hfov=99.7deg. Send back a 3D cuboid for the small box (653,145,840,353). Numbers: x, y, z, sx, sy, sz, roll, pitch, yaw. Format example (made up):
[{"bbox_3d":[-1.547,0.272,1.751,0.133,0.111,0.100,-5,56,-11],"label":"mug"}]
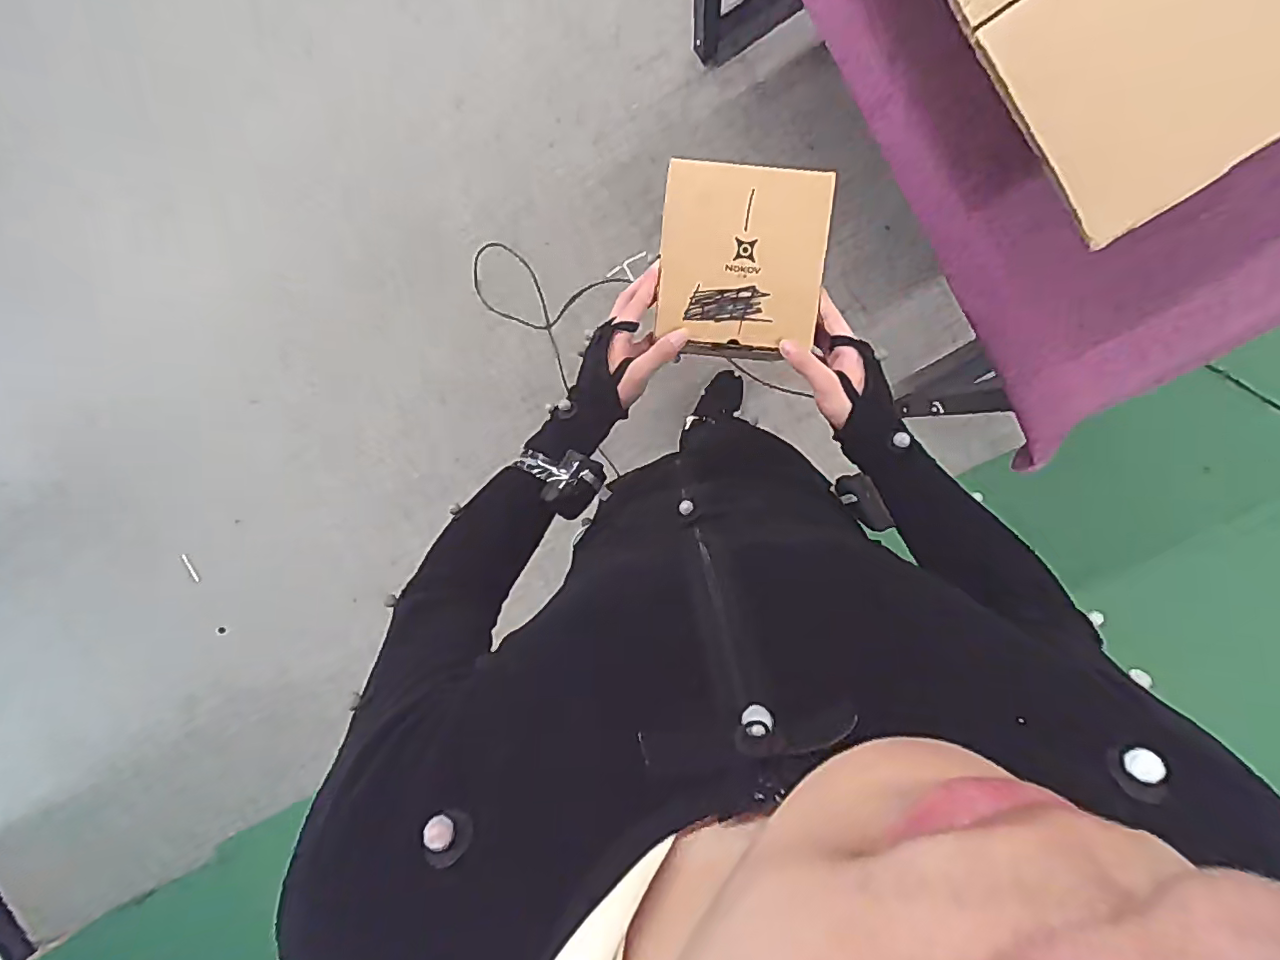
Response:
[{"bbox_3d":[0.104,-0.242,0.610,0.168,0.176,0.179,6,99,-1],"label":"small box"}]

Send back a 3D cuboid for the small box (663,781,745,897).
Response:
[{"bbox_3d":[0.173,0.957,1.453,0.168,0.176,0.179,-22,93,7],"label":"small box"}]
